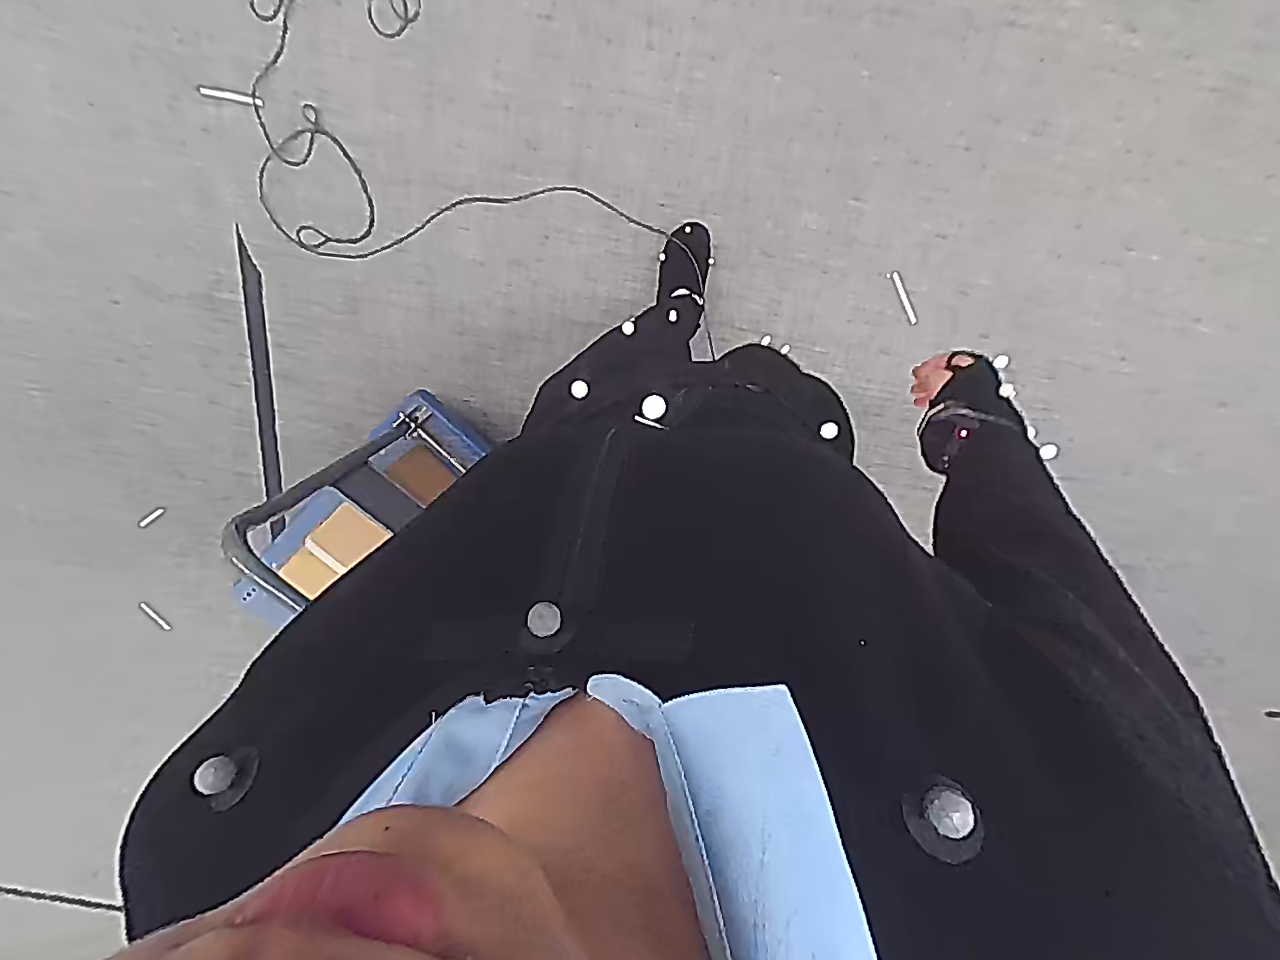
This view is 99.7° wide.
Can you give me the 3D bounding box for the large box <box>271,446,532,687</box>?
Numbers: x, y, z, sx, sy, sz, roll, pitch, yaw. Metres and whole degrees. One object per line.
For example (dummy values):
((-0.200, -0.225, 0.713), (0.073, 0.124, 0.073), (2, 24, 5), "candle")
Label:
((-0.530, 0.195, 1.283), (0.320, 0.320, 0.408), (-40, 105, 17), "large box")
